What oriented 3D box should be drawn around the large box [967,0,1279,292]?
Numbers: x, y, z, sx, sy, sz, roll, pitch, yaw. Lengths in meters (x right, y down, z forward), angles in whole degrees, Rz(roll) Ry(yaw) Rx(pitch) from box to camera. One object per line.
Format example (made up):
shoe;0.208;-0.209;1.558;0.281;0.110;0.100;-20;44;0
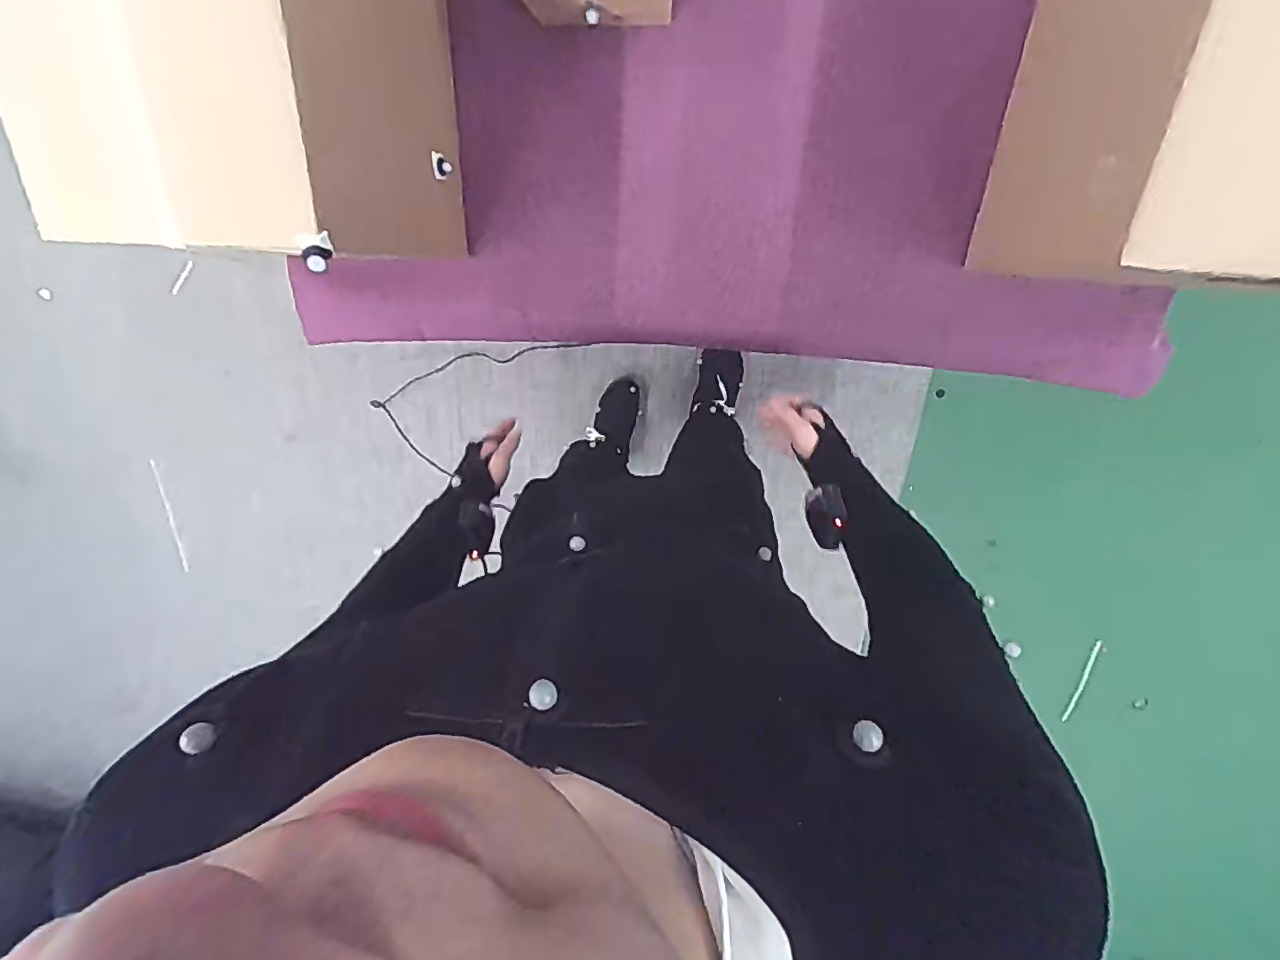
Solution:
large box;0.549;-0.380;0.463;0.320;0.320;0.408;7;112;8
